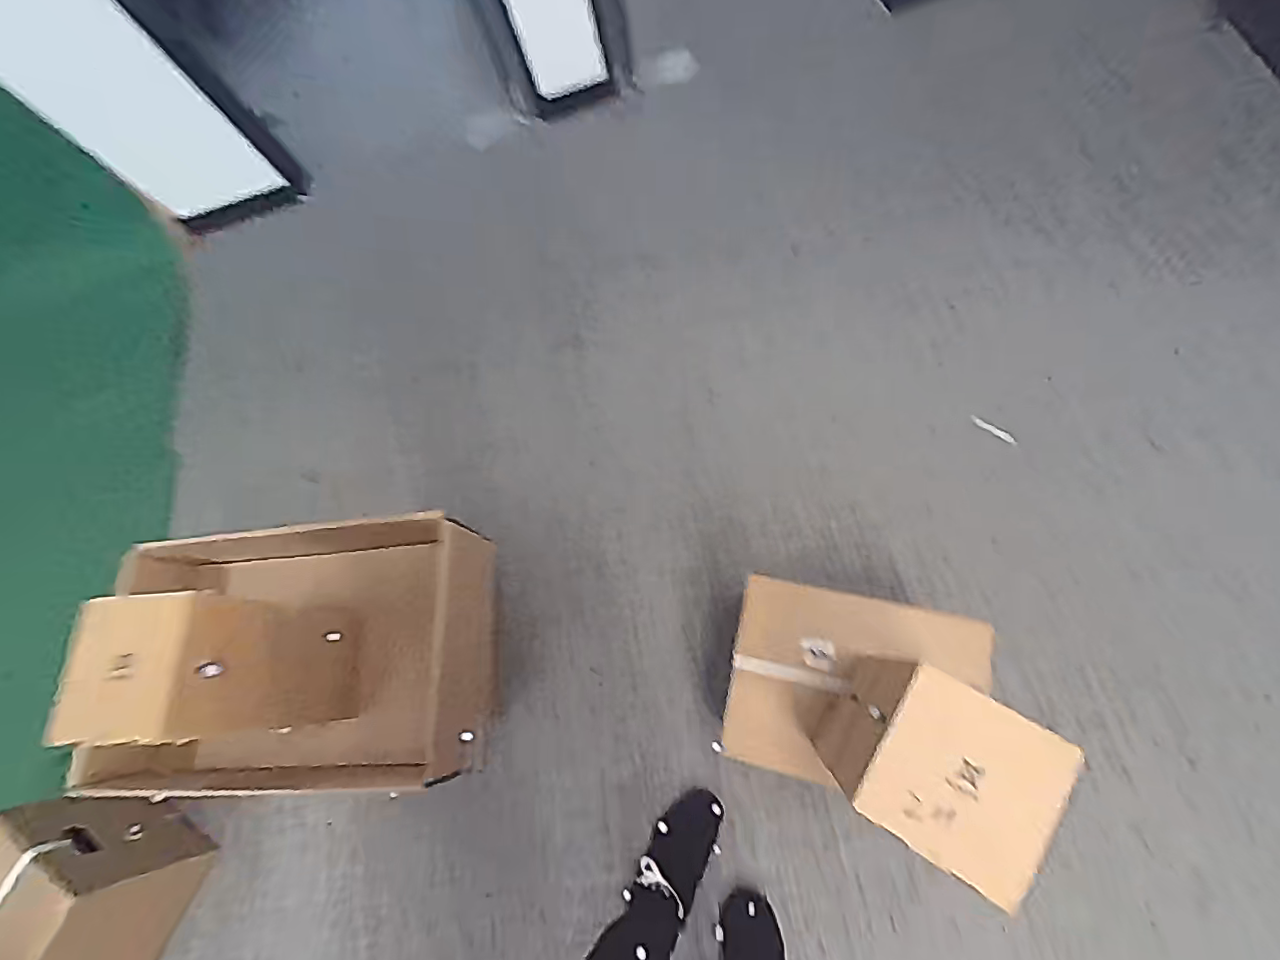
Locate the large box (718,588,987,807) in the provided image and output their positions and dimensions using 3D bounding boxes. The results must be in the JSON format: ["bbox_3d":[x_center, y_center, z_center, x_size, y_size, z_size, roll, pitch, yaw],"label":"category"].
[{"bbox_3d":[0.383,0.416,1.037,0.408,0.320,0.320,10,72,15],"label":"large box"}]

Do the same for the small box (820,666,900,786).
[{"bbox_3d":[0.378,0.389,0.783,0.168,0.176,0.179,30,80,19],"label":"small box"}]

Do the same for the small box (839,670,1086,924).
[{"bbox_3d":[0.351,0.339,0.627,0.168,0.176,0.179,29,81,19],"label":"small box"}]

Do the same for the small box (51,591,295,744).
[{"bbox_3d":[-0.611,0.253,0.734,0.168,0.176,0.179,-5,70,10],"label":"small box"}]
